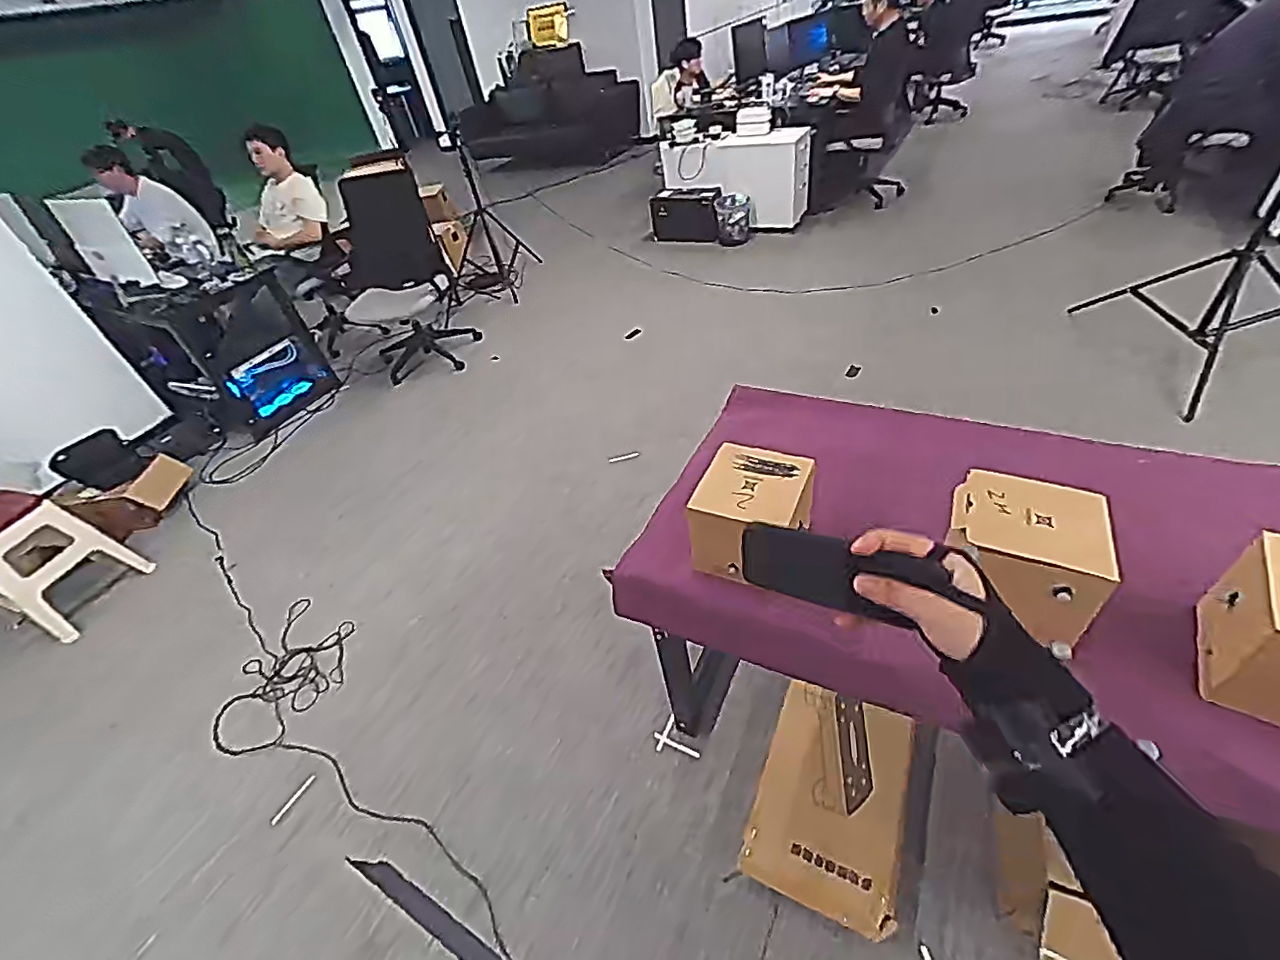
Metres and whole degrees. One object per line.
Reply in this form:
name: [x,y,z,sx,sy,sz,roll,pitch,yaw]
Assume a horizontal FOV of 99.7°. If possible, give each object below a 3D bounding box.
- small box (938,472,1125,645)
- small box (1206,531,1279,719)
small box: [0.564,0.116,0.799,0.179,0.176,0.168,13,45,25]
small box: [0.834,0.197,0.652,0.179,0.176,0.168,19,50,29]
